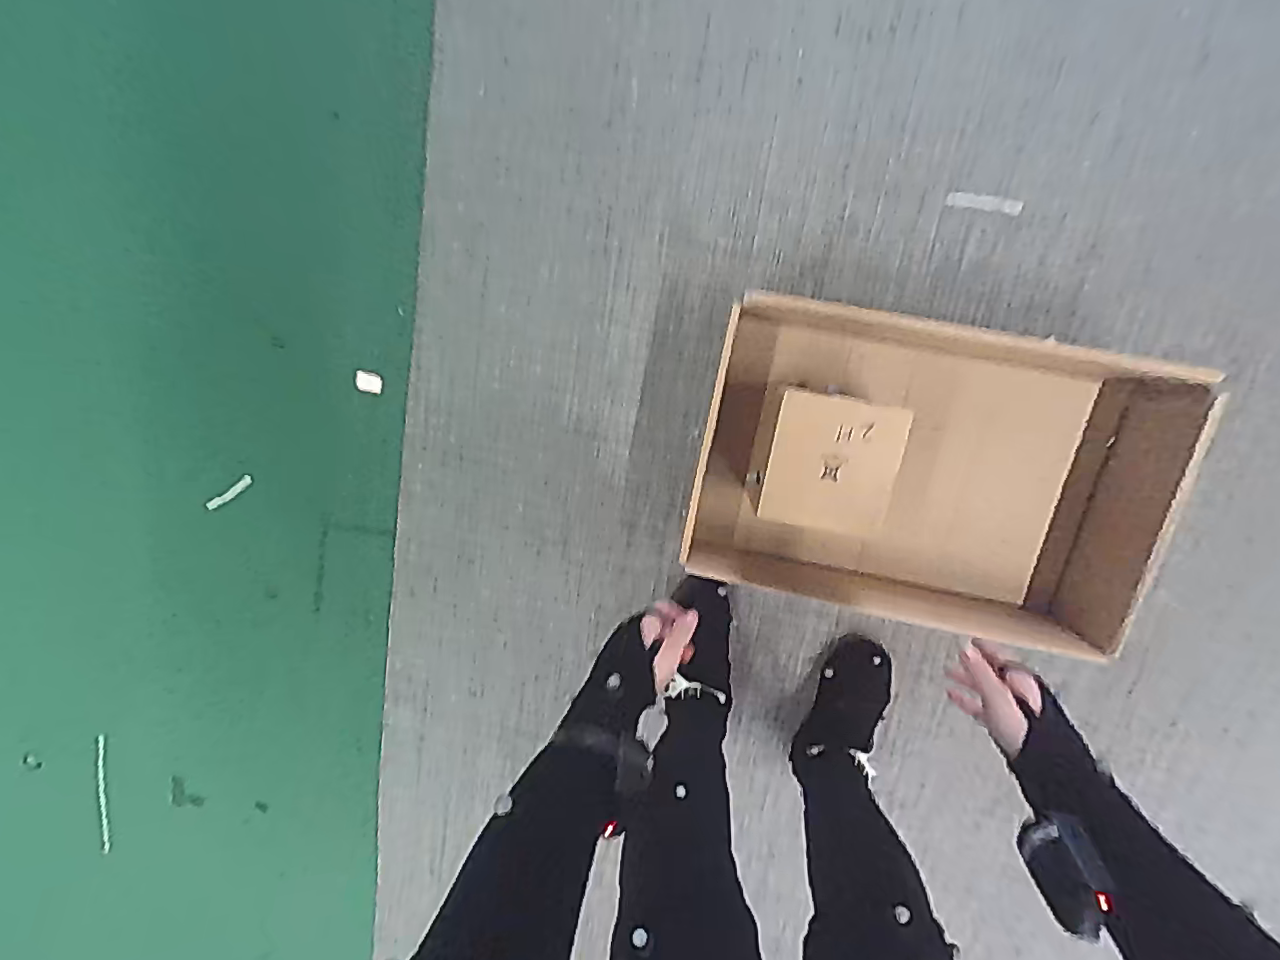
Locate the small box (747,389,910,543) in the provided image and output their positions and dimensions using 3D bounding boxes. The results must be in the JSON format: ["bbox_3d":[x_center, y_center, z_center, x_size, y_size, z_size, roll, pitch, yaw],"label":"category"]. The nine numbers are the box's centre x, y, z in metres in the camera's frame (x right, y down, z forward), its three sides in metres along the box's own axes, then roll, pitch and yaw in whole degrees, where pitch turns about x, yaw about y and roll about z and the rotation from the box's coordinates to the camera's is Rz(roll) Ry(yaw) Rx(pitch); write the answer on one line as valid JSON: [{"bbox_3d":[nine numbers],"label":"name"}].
[{"bbox_3d":[0.255,-0.030,0.780,0.168,0.176,0.179,11,101,3],"label":"small box"}]
